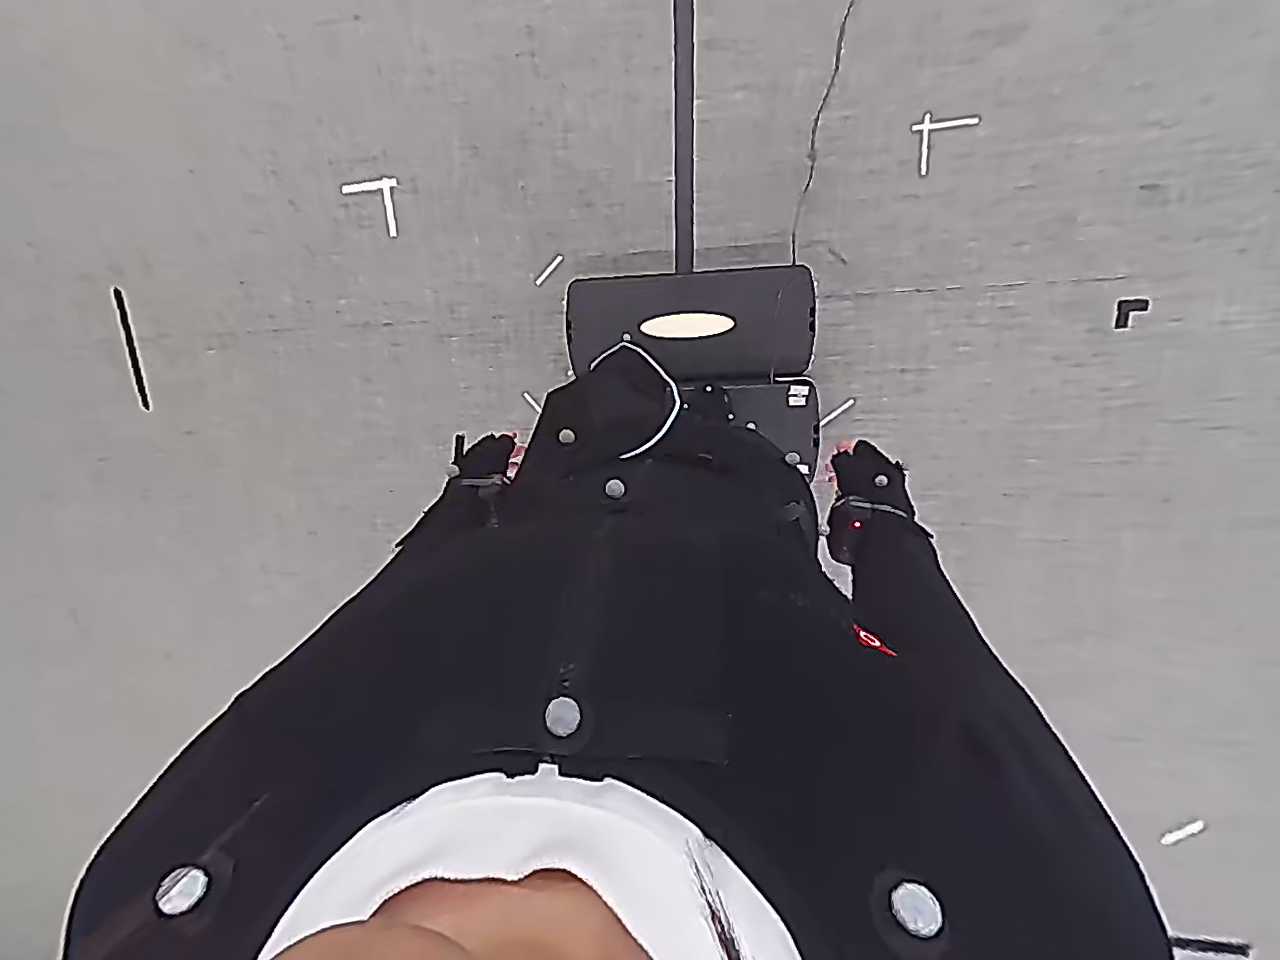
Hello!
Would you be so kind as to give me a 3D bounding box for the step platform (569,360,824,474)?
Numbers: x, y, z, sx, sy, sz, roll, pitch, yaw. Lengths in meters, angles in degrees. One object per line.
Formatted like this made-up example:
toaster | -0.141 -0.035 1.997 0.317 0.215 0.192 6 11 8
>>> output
step platform | 0.148 -0.170 1.489 0.684 0.204 0.286 -1 102 10
